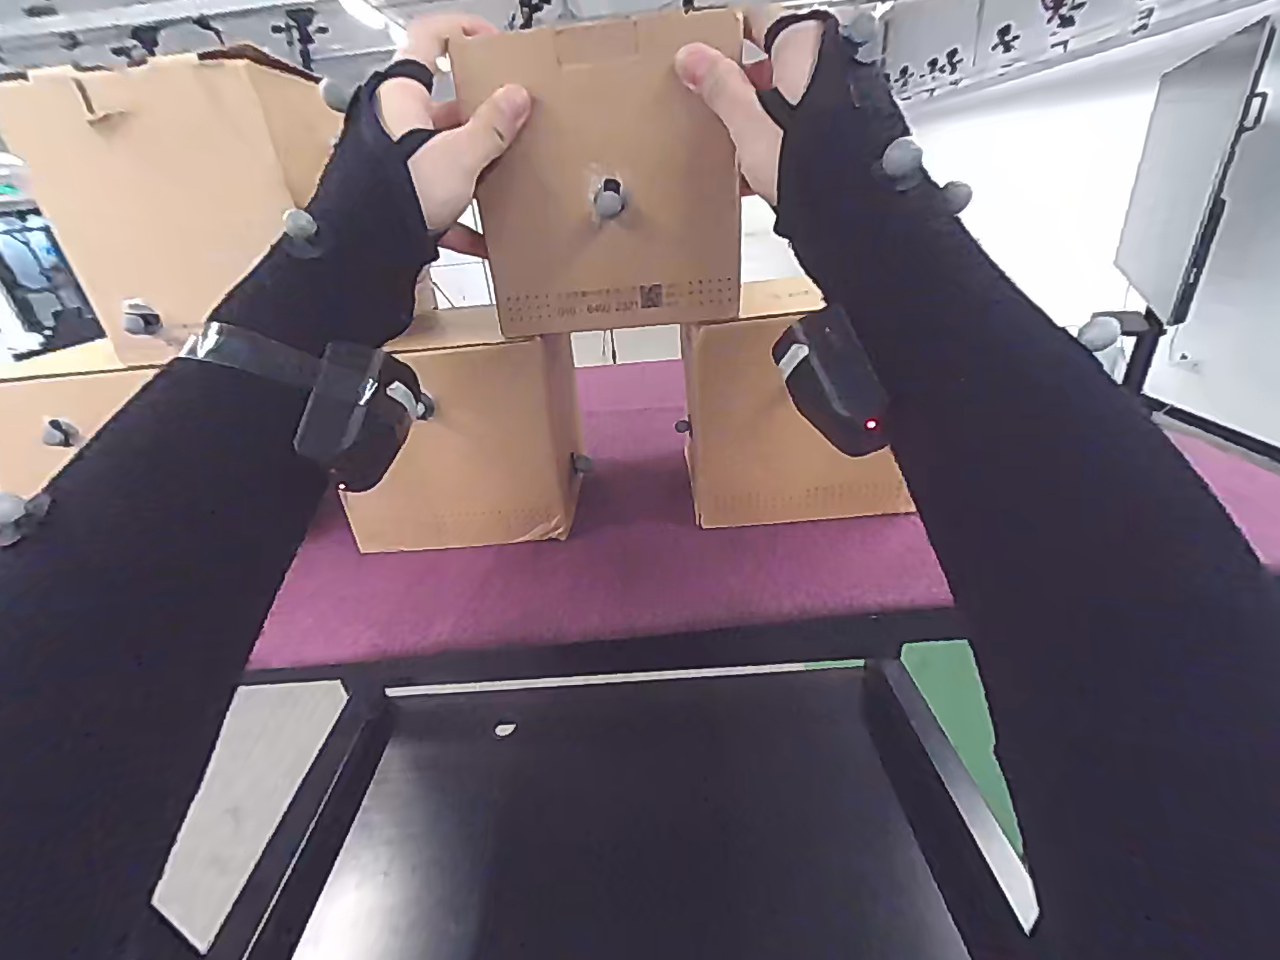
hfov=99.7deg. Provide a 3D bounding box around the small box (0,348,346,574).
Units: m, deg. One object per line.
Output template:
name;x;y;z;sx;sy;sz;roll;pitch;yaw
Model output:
small box;-0.415;-0.028;0.500;0.179;0.176;0.168;-6;28;1

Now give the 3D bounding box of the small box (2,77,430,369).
small box;-0.288;-0.187;0.423;0.168;0.176;0.179;-3;27;4

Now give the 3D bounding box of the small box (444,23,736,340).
small box;-0.021;-0.206;0.409;0.168;0.176;0.179;-5;28;3

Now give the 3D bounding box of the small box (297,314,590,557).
small box;-0.148;-0.045;0.480;0.179;0.176;0.168;-4;27;3

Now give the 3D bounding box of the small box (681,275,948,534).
small box;0.130;-0.070;0.470;0.179;0.176;0.168;-6;27;4
